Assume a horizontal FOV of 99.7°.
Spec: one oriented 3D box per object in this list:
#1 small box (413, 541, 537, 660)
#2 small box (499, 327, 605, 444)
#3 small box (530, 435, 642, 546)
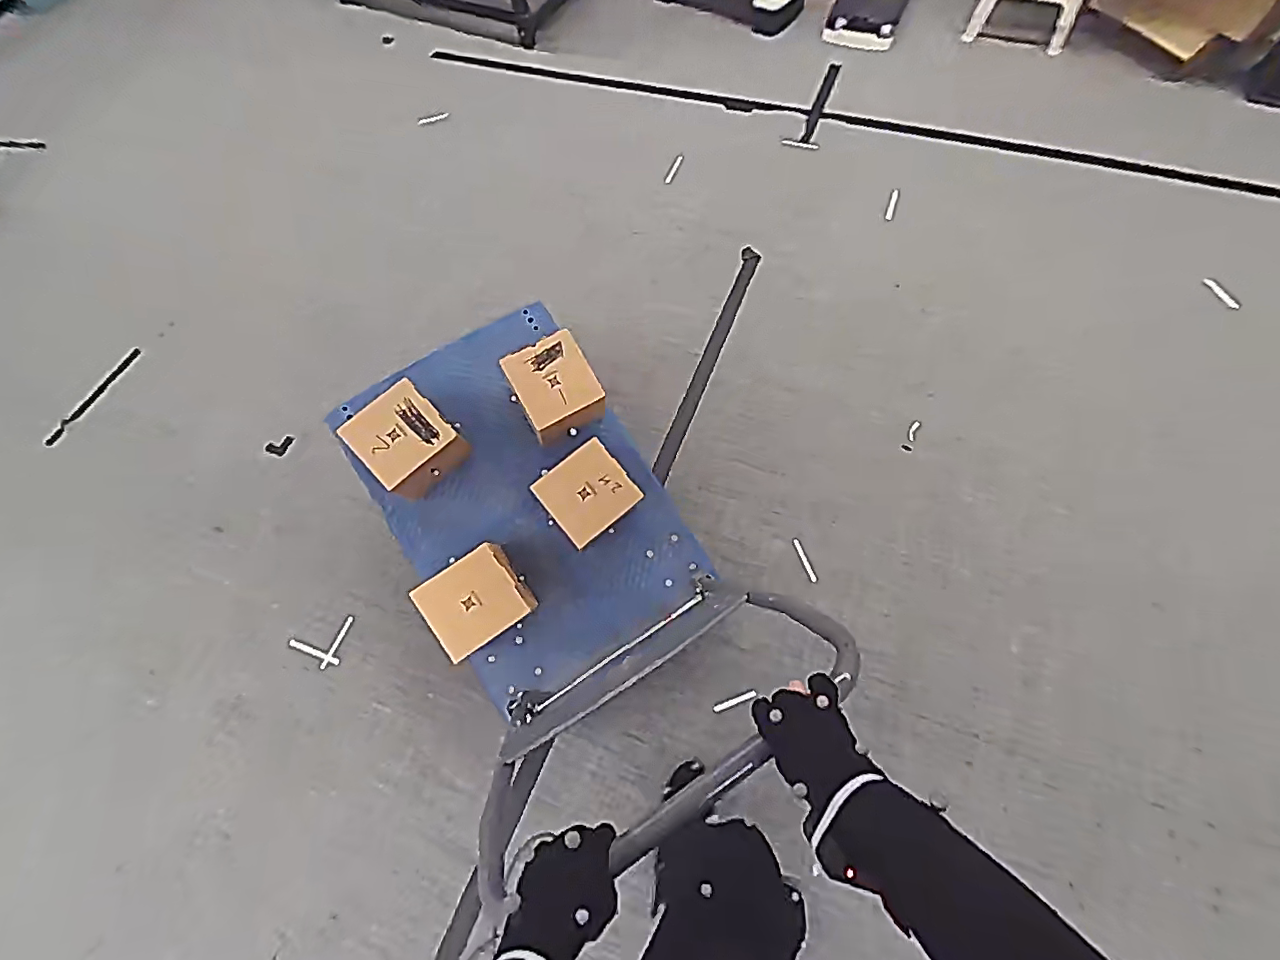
[{"bbox_3d":[-0.334,0.249,1.131,0.179,0.176,0.168,-35,85,-11],"label":"small box"},{"bbox_3d":[-0.194,-0.205,1.216,0.168,0.176,0.179,-30,86,-9],"label":"small box"},{"bbox_3d":[-0.115,0.033,1.186,0.179,0.176,0.168,-39,87,-10],"label":"small box"}]
